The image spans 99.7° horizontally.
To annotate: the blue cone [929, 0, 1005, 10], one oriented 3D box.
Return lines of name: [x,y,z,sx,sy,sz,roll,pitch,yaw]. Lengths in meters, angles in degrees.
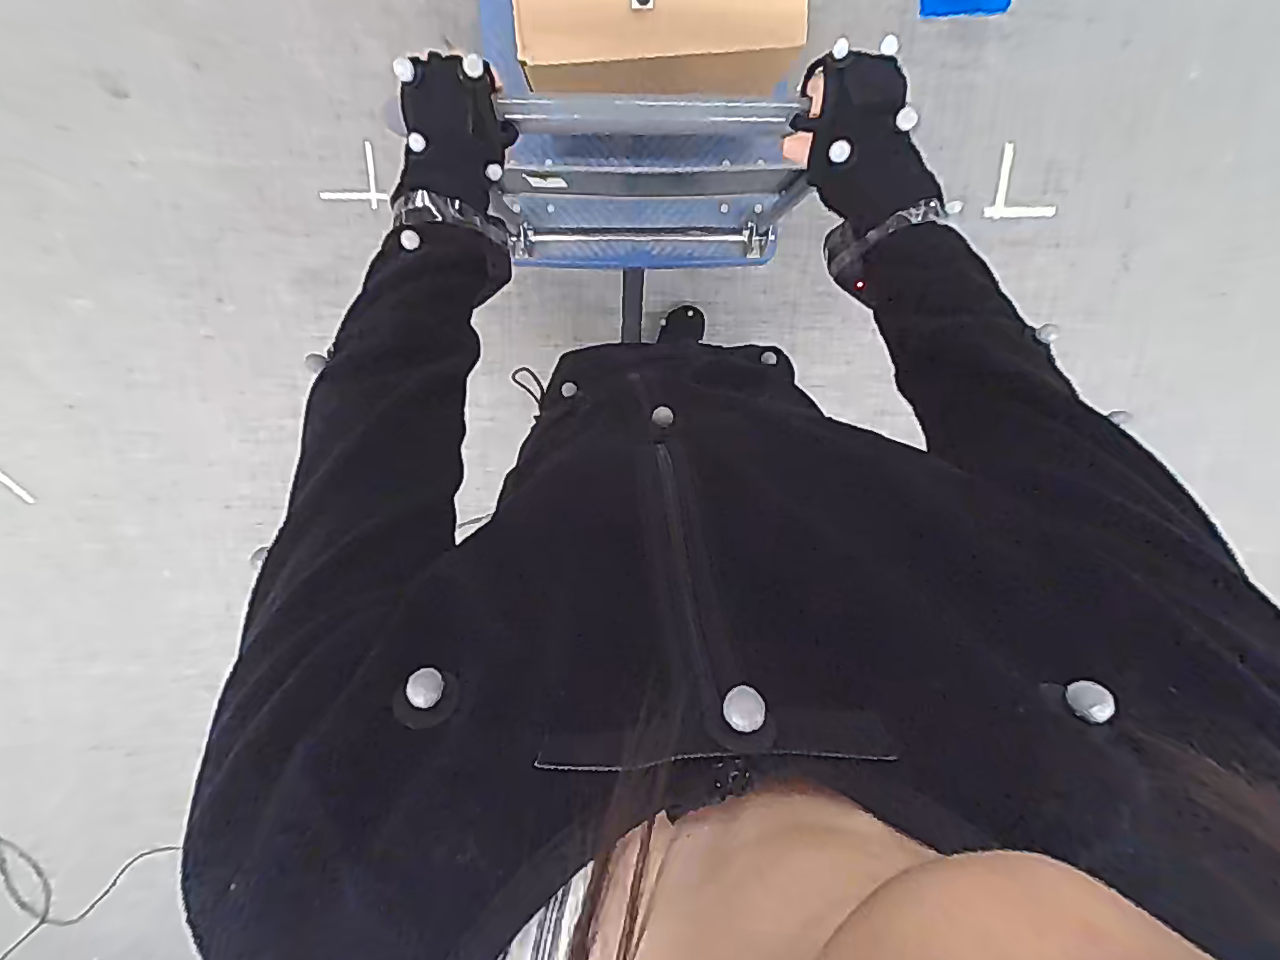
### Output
blue cone: [0.705,-1.053,0.975,0.193,0.380,0.192,-3,106,-2]
